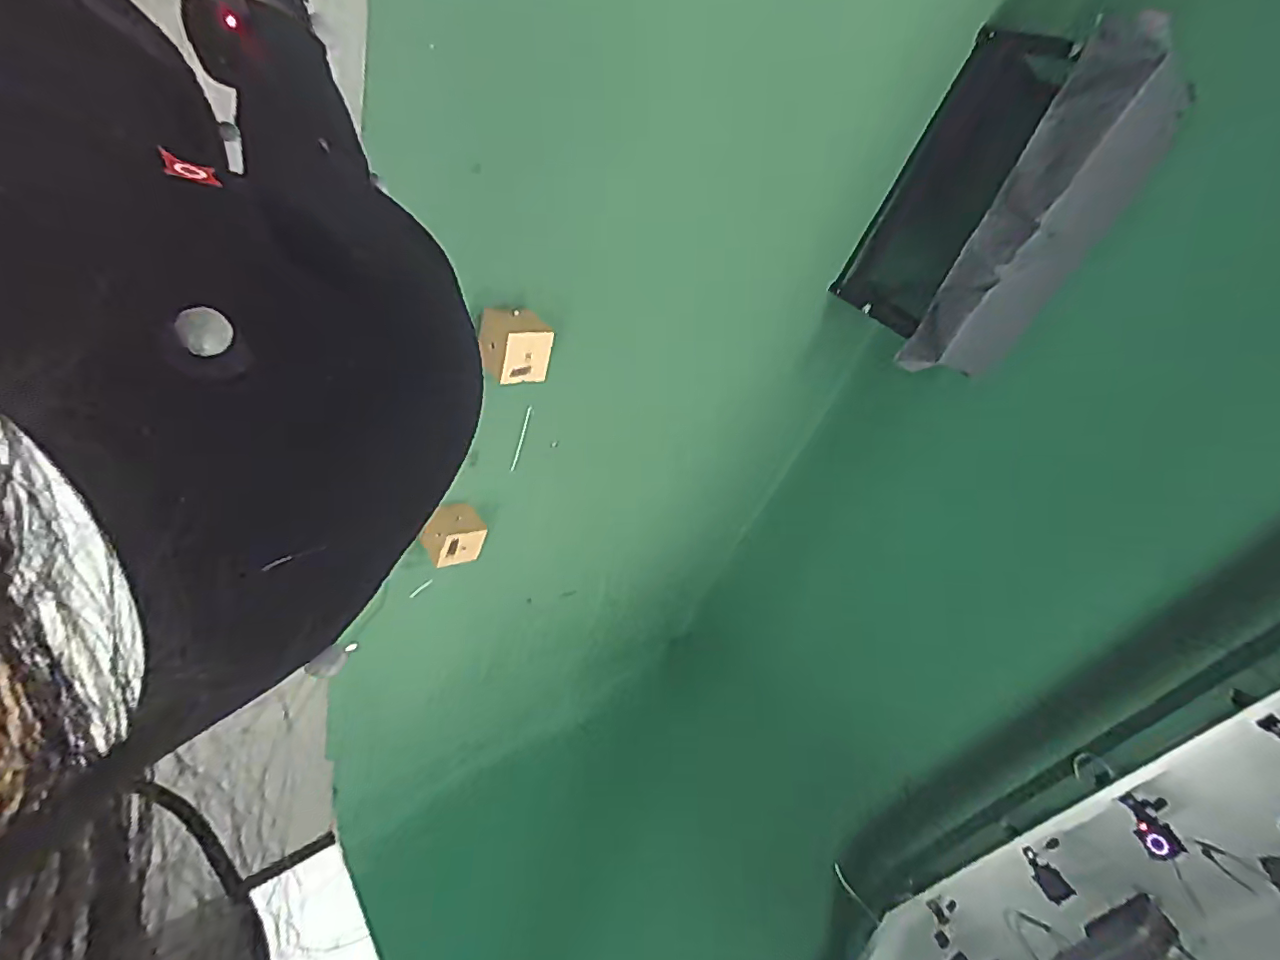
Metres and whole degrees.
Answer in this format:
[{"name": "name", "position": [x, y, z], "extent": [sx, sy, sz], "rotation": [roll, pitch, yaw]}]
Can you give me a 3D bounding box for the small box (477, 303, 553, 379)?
[{"name": "small box", "position": [-0.407, -0.444, 1.730], "extent": [0.168, 0.176, 0.179], "rotation": [-15, 138, -41]}]
